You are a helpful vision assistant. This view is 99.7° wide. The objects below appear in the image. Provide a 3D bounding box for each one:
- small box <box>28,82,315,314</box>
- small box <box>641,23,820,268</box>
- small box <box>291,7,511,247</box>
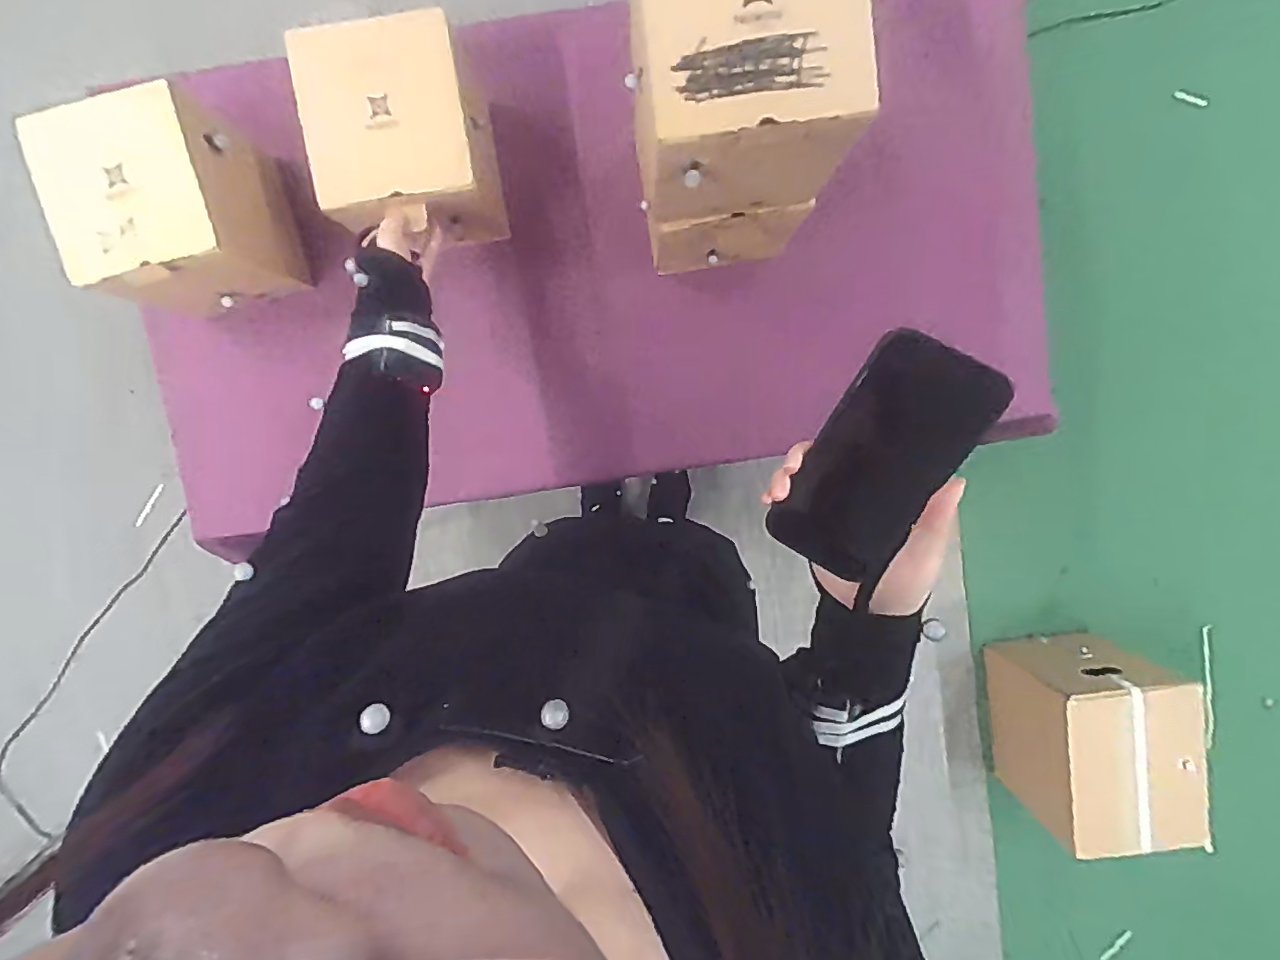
[{"bbox_3d":[-0.532,-0.315,0.642,0.168,0.176,0.179,-14,97,2],"label":"small box"},{"bbox_3d":[0.093,-0.369,0.630,0.168,0.176,0.179,-9,97,2],"label":"small box"},{"bbox_3d":[-0.259,-0.387,0.632,0.168,0.176,0.179,-8,96,1],"label":"small box"}]
